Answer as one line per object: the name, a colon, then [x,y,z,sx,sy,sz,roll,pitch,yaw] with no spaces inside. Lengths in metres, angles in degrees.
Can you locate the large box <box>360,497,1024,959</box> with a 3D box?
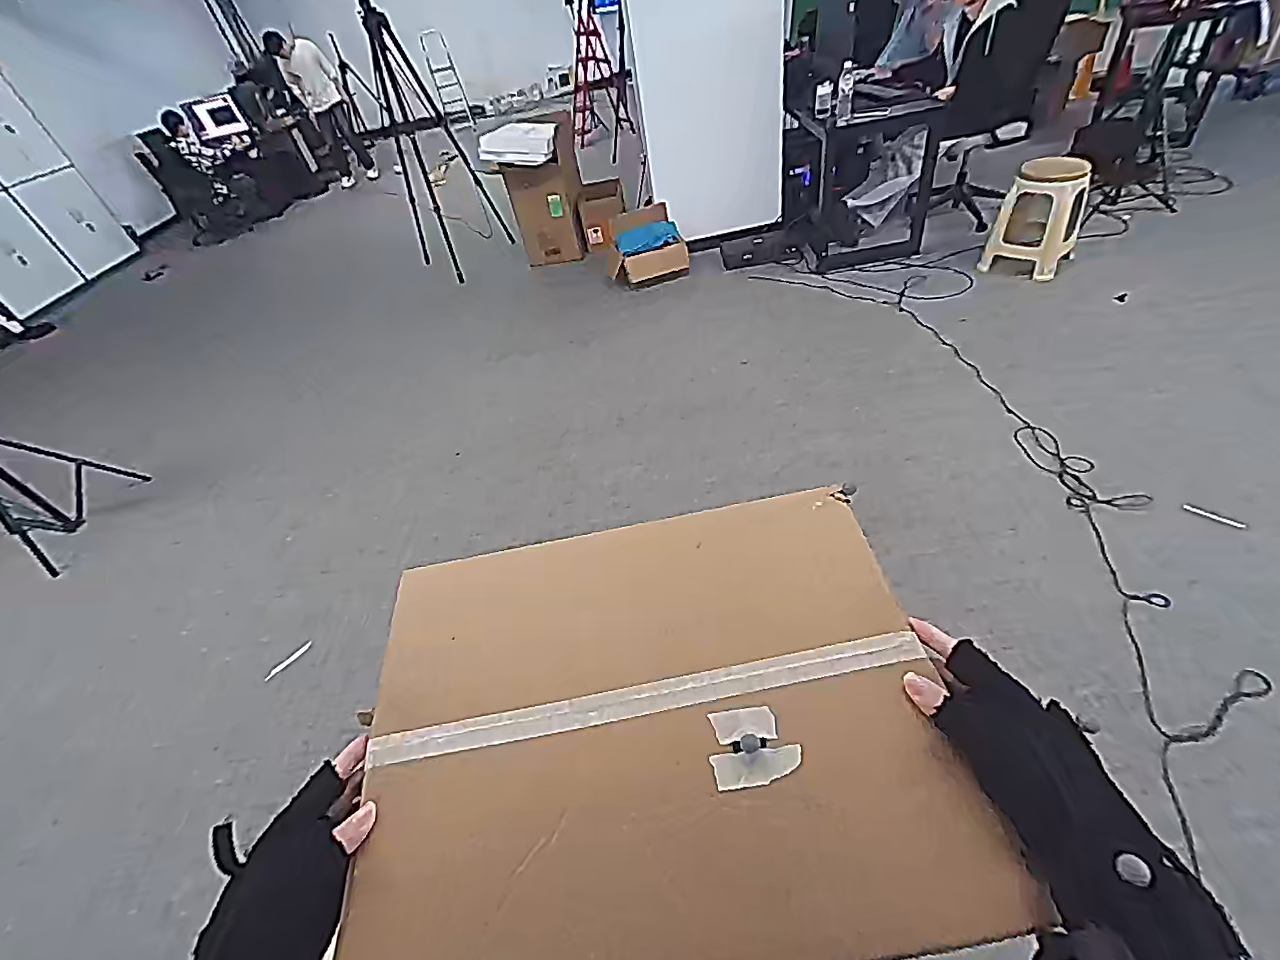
large box: [0.025,0.262,0.517,0.408,0.320,0.320,-11,49,0]
